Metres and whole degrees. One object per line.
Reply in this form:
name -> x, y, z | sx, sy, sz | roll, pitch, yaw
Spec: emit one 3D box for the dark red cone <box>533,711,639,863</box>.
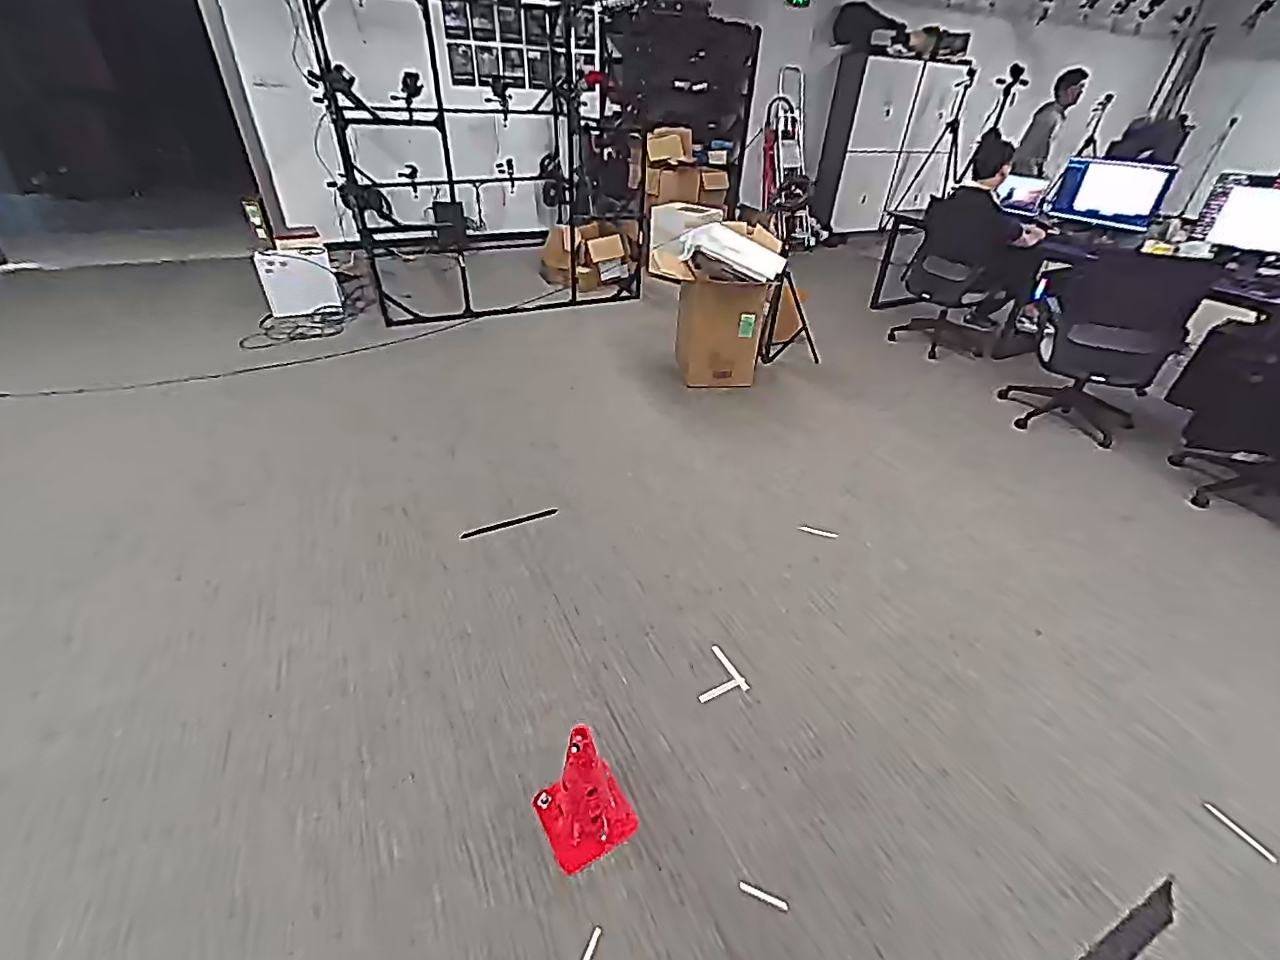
dark red cone -> -0.122, 0.633, 1.183 | 0.202, 0.394, 0.201 | -19, 42, -28
